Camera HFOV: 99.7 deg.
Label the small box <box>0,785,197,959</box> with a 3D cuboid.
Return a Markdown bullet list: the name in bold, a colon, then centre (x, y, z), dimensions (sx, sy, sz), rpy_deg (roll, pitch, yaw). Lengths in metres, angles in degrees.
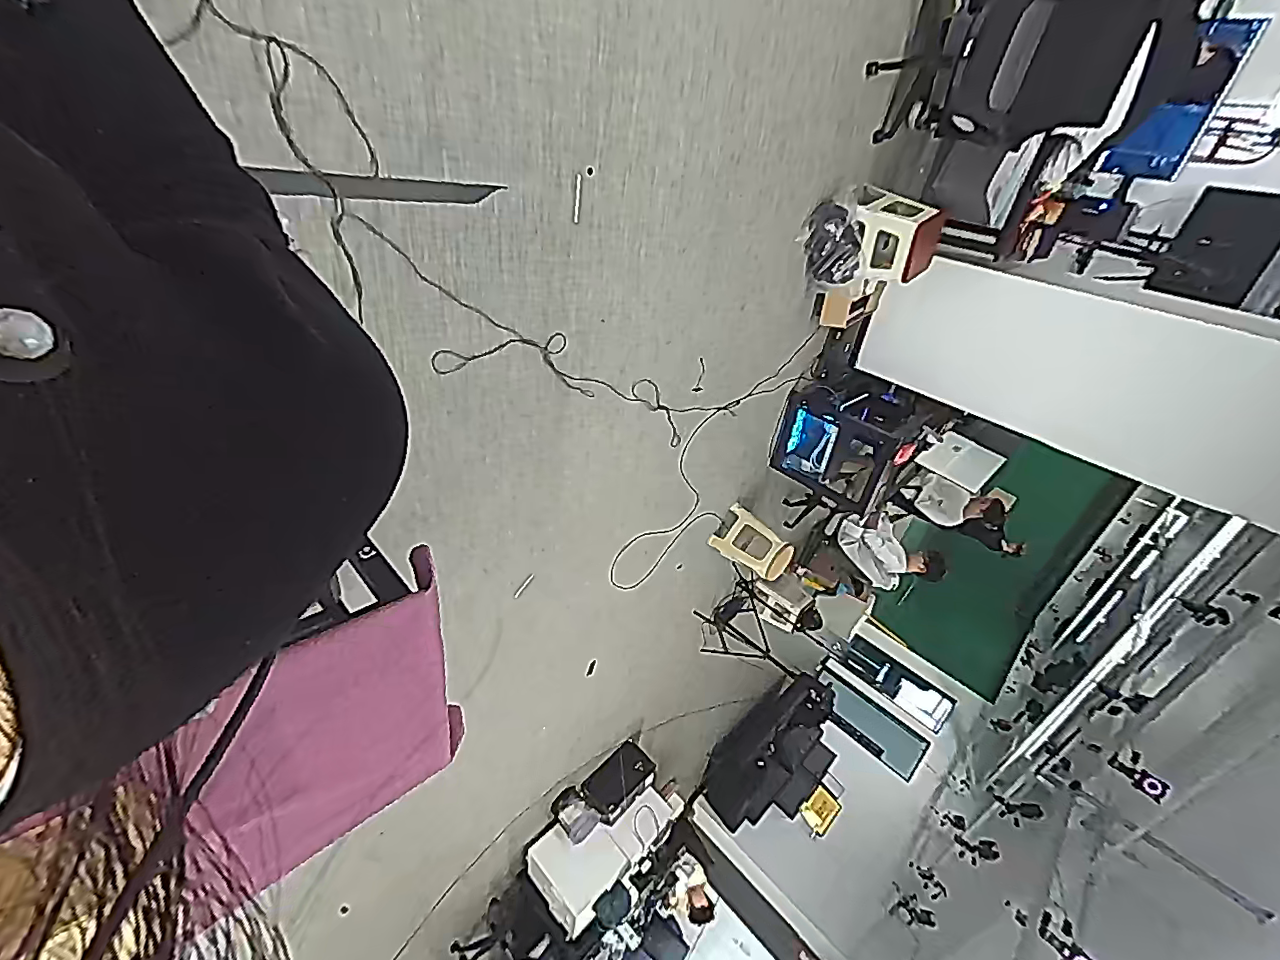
- **small box**: centre (-0.767, 0.580, 0.765), dimensions (0.168, 0.176, 0.179), rpy_deg (-22, 135, -43)
